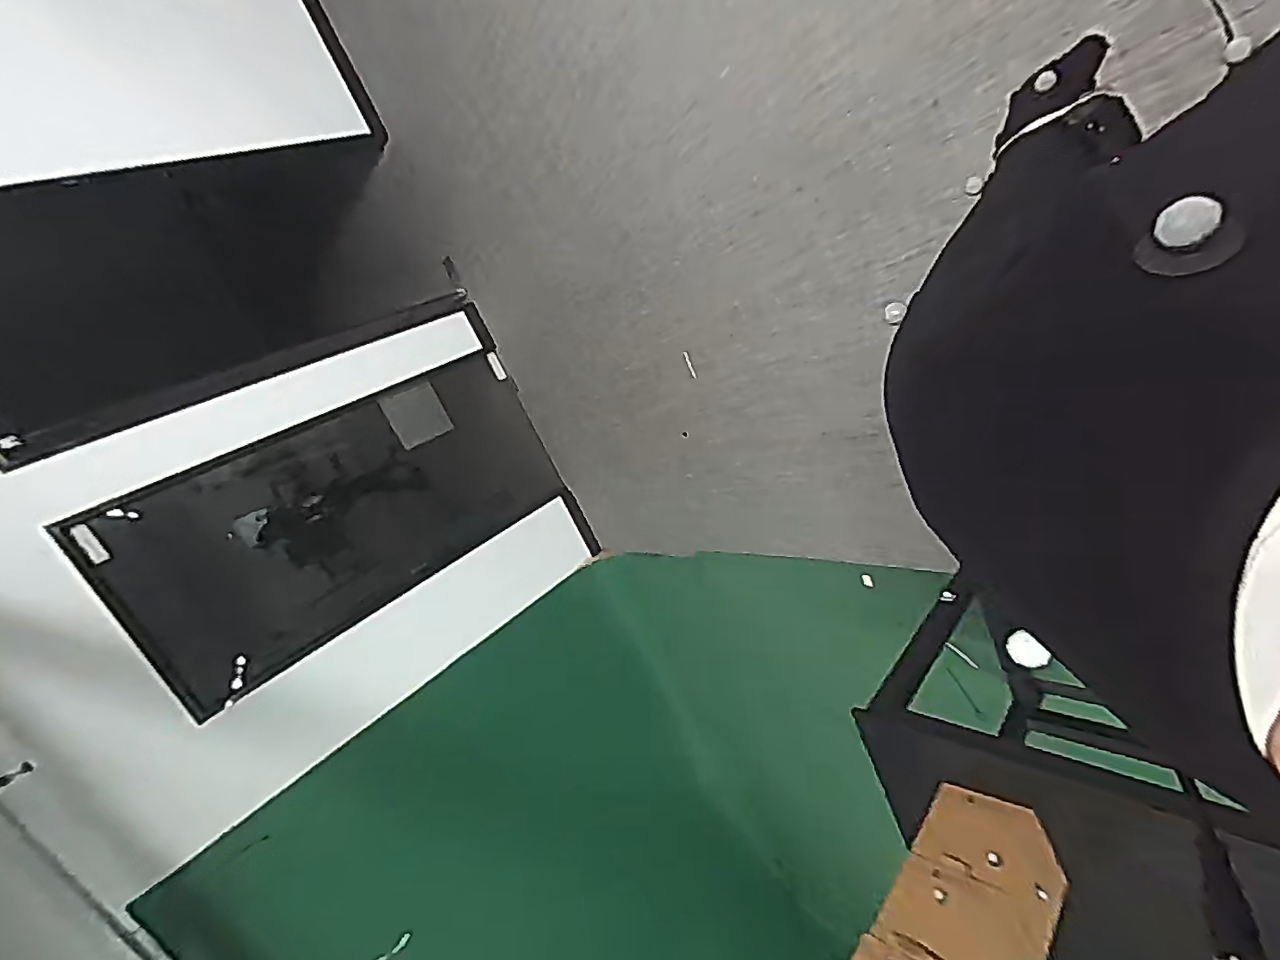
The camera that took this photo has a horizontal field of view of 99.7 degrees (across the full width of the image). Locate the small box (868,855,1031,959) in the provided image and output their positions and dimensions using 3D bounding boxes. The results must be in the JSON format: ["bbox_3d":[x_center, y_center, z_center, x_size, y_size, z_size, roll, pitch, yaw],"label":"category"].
[{"bbox_3d":[0.533,0.802,0.922,0.168,0.176,0.179,-18,104,55],"label":"small box"}]
